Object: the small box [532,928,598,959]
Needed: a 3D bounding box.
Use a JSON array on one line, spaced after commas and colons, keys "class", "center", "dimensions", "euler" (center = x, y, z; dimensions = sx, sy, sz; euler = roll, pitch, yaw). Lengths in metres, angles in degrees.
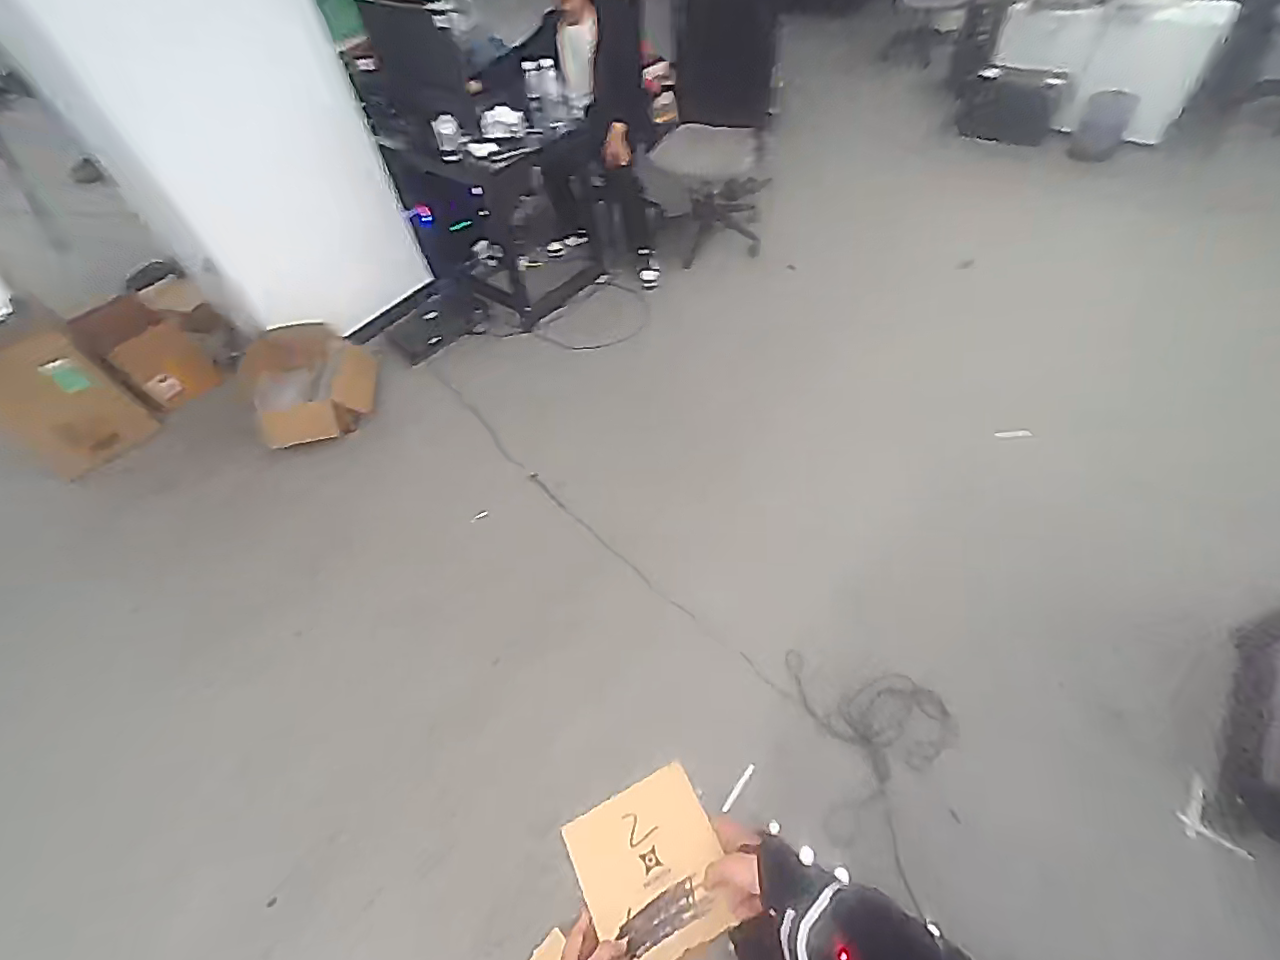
[{"class": "small box", "center": [-0.160, 1.078, 1.119], "dimensions": [0.179, 0.176, 0.168], "euler": [35, 64, 28]}]
